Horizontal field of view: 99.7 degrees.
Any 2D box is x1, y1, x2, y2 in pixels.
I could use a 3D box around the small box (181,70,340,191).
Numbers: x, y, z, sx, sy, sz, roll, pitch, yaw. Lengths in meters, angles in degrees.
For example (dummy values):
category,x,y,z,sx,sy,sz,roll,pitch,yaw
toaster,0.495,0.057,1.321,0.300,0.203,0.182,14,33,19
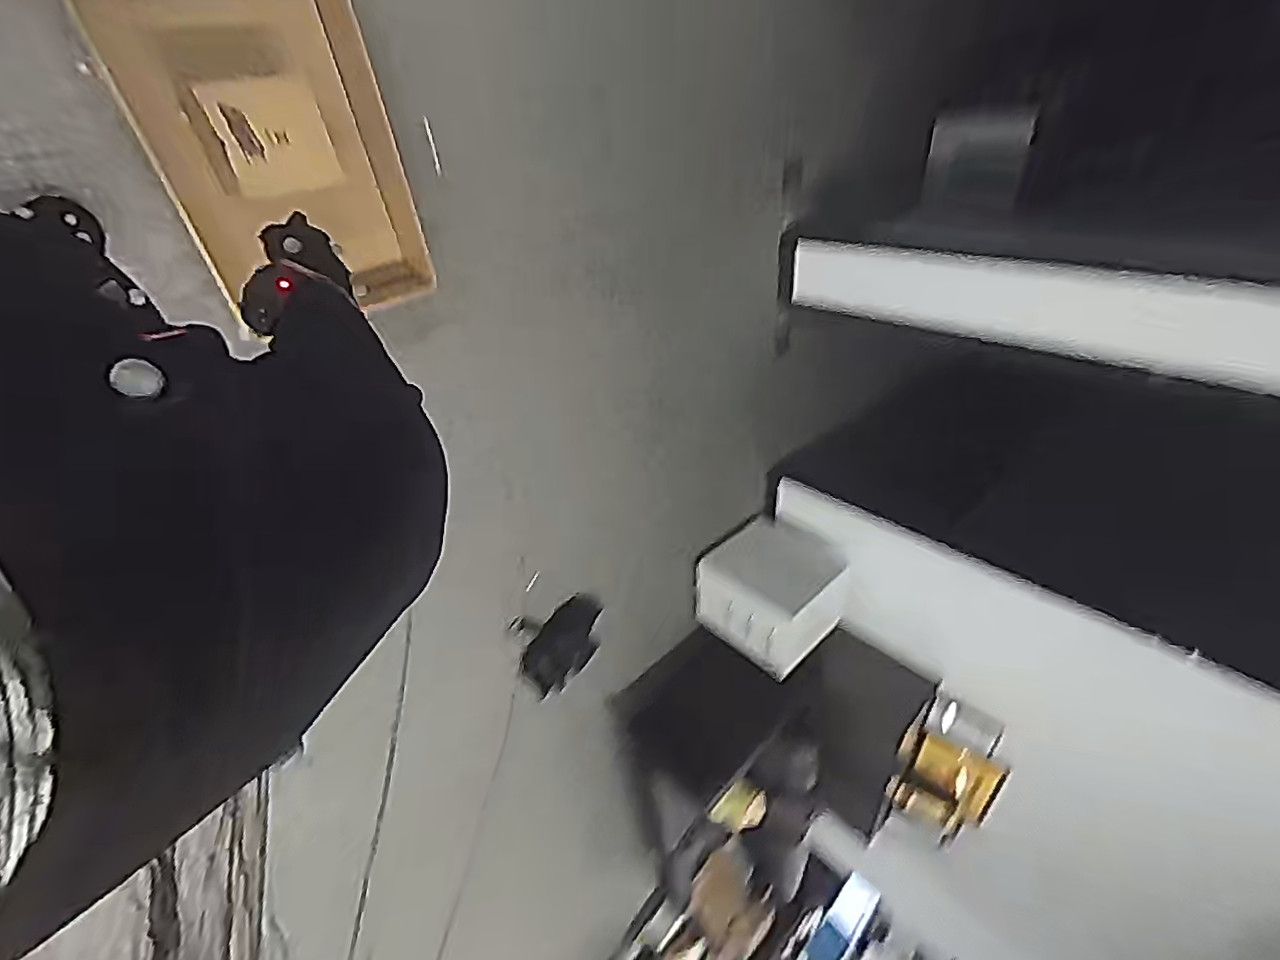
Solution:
category,x,y,z,sx,sy,sz,roll,pitch,yaw
small box,-0.687,-0.628,0.978,0.179,0.176,0.168,-33,133,-31
